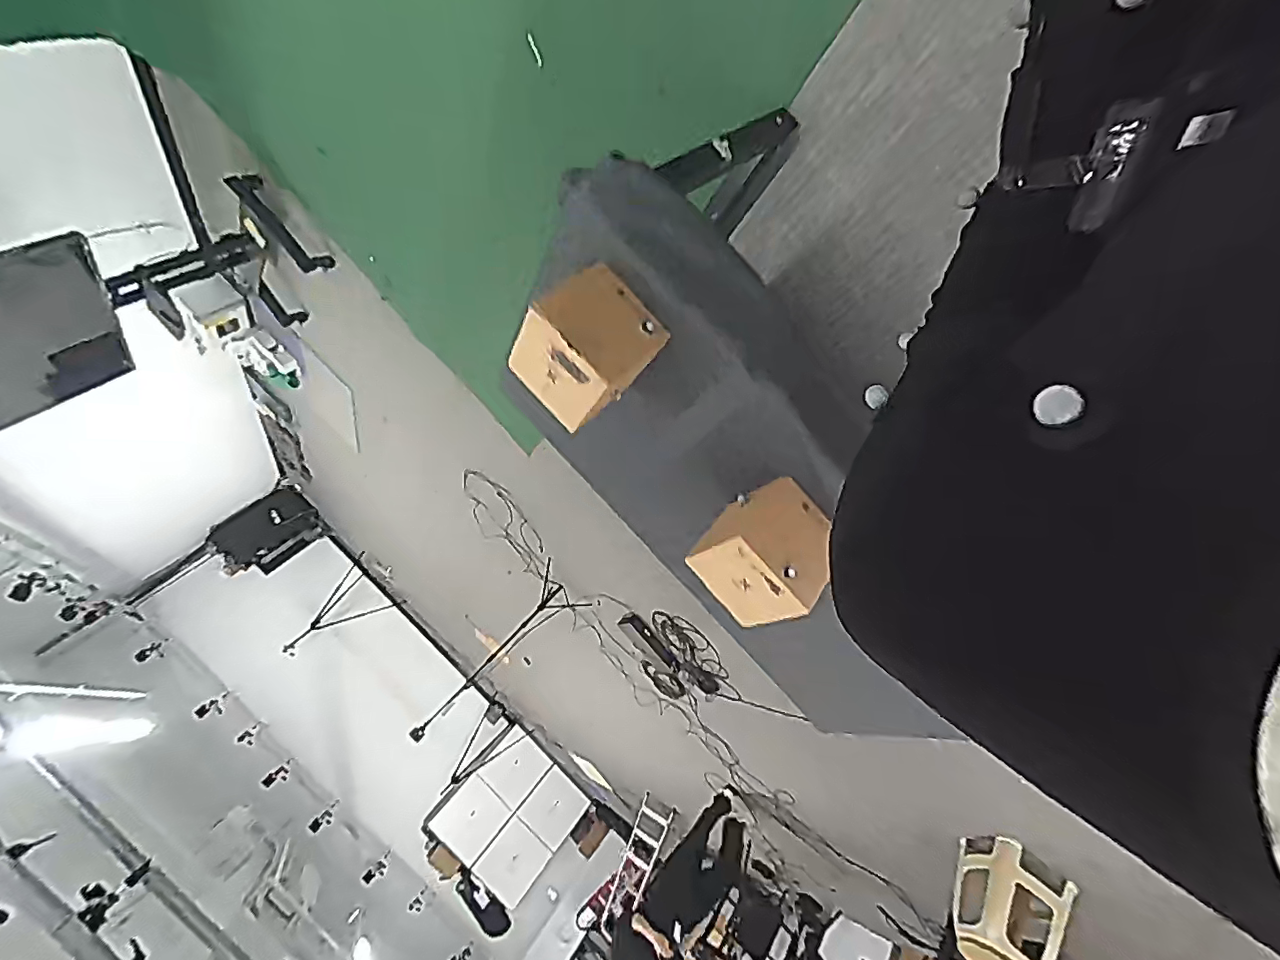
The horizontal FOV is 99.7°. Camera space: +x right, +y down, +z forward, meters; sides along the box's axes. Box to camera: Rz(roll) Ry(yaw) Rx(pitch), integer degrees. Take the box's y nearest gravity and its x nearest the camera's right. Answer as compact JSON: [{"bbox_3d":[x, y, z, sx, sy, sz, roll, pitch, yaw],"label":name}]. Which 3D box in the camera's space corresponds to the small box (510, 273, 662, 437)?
[{"bbox_3d":[-0.087,-0.210,0.909,0.168,0.176,0.179,46,148,-3],"label":"small box"}]

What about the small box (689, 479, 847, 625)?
[{"bbox_3d":[0.225,0.127,0.945,0.168,0.176,0.179,46,148,-3],"label":"small box"}]
